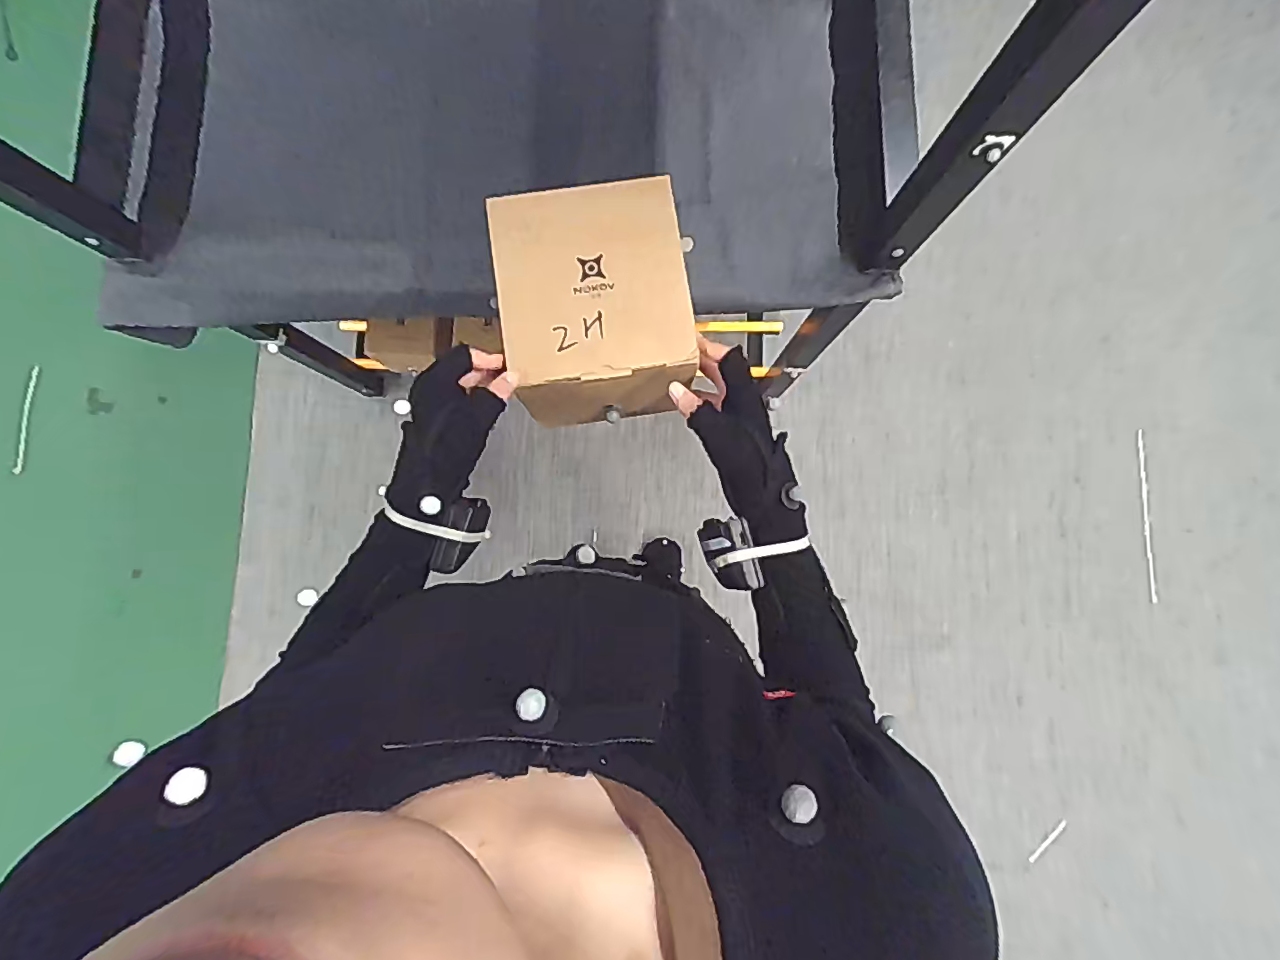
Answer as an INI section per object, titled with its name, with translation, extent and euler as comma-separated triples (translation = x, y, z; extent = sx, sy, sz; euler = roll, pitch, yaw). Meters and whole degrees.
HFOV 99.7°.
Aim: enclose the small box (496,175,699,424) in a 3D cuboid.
[small box]
translation = -0.041, -0.172, 0.557
extent = 0.168, 0.176, 0.179
euler = -8, 81, -1
